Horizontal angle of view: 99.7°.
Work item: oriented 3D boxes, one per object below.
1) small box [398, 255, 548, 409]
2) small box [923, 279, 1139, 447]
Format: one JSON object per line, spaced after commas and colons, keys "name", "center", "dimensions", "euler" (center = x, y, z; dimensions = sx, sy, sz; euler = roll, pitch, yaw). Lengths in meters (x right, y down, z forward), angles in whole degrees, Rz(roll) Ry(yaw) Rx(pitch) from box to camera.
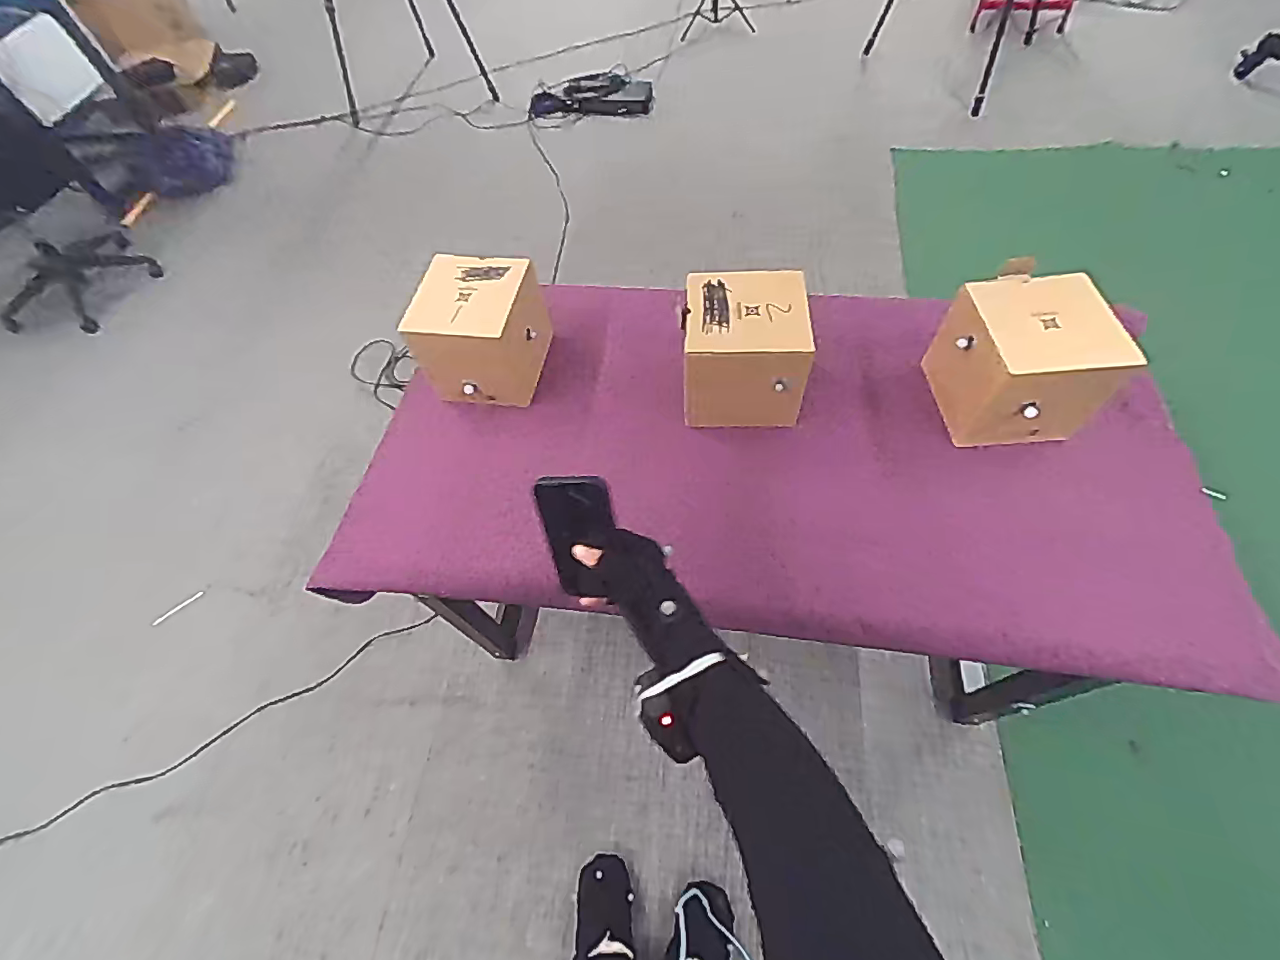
{"name": "small box", "center": [-0.261, -0.243, 0.897], "dimensions": [0.168, 0.176, 0.179], "euler": [6, 61, 9]}
{"name": "small box", "center": [0.541, -0.158, 0.781], "dimensions": [0.168, 0.176, 0.179], "euler": [-4, 58, 3]}
